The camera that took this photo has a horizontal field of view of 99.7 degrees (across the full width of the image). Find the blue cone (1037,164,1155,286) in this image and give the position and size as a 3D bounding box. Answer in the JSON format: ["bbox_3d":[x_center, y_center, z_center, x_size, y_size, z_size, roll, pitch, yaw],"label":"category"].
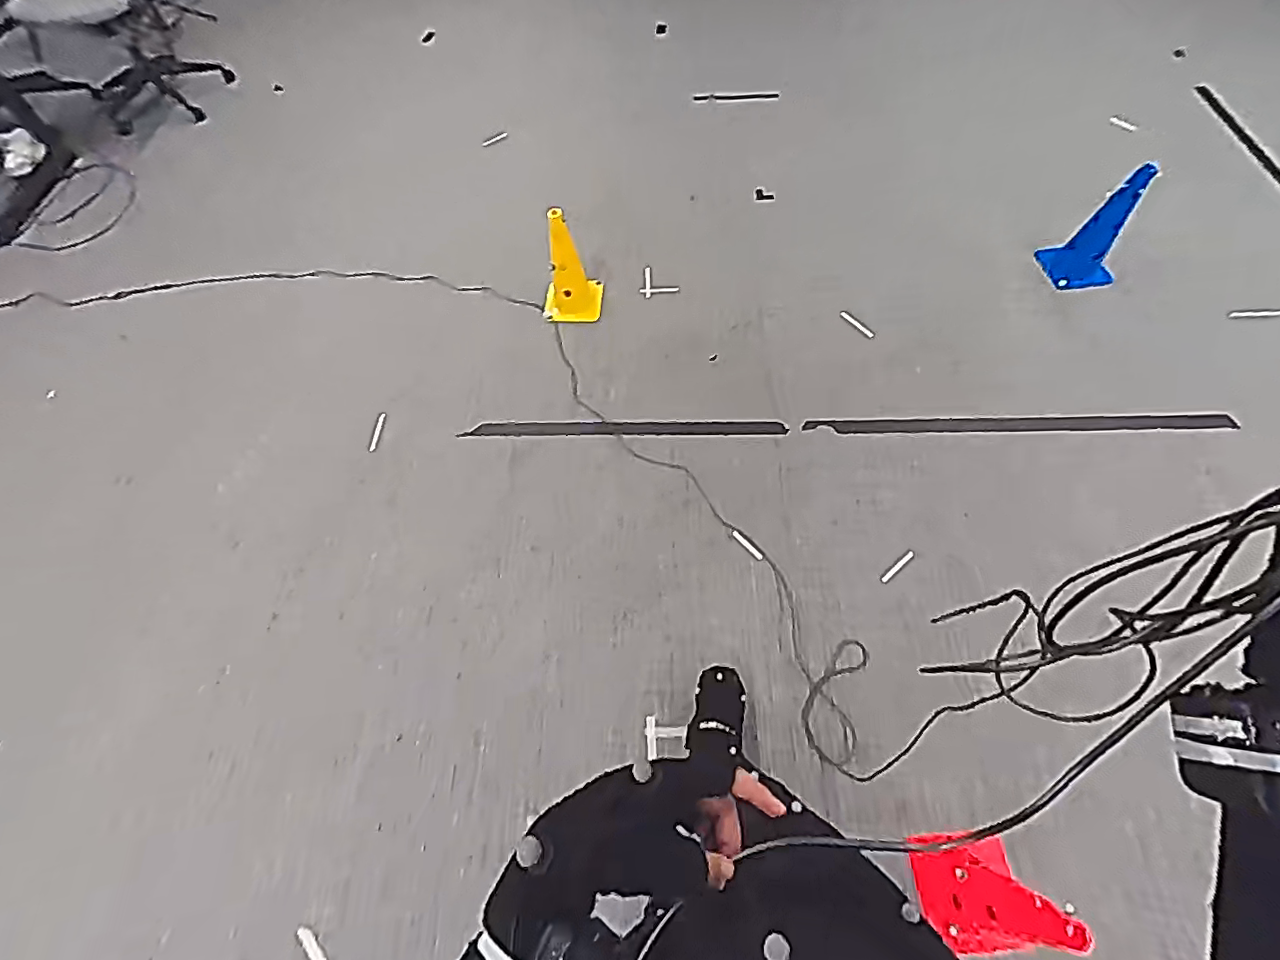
[{"bbox_3d":[1.491,-0.828,1.736,0.193,0.380,0.192,-6,62,1],"label":"blue cone"}]

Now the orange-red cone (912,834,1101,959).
[{"bbox_3d":[0.659,0.754,0.938,0.199,0.360,0.198,-5,62,0],"label":"orange-red cone"}]
